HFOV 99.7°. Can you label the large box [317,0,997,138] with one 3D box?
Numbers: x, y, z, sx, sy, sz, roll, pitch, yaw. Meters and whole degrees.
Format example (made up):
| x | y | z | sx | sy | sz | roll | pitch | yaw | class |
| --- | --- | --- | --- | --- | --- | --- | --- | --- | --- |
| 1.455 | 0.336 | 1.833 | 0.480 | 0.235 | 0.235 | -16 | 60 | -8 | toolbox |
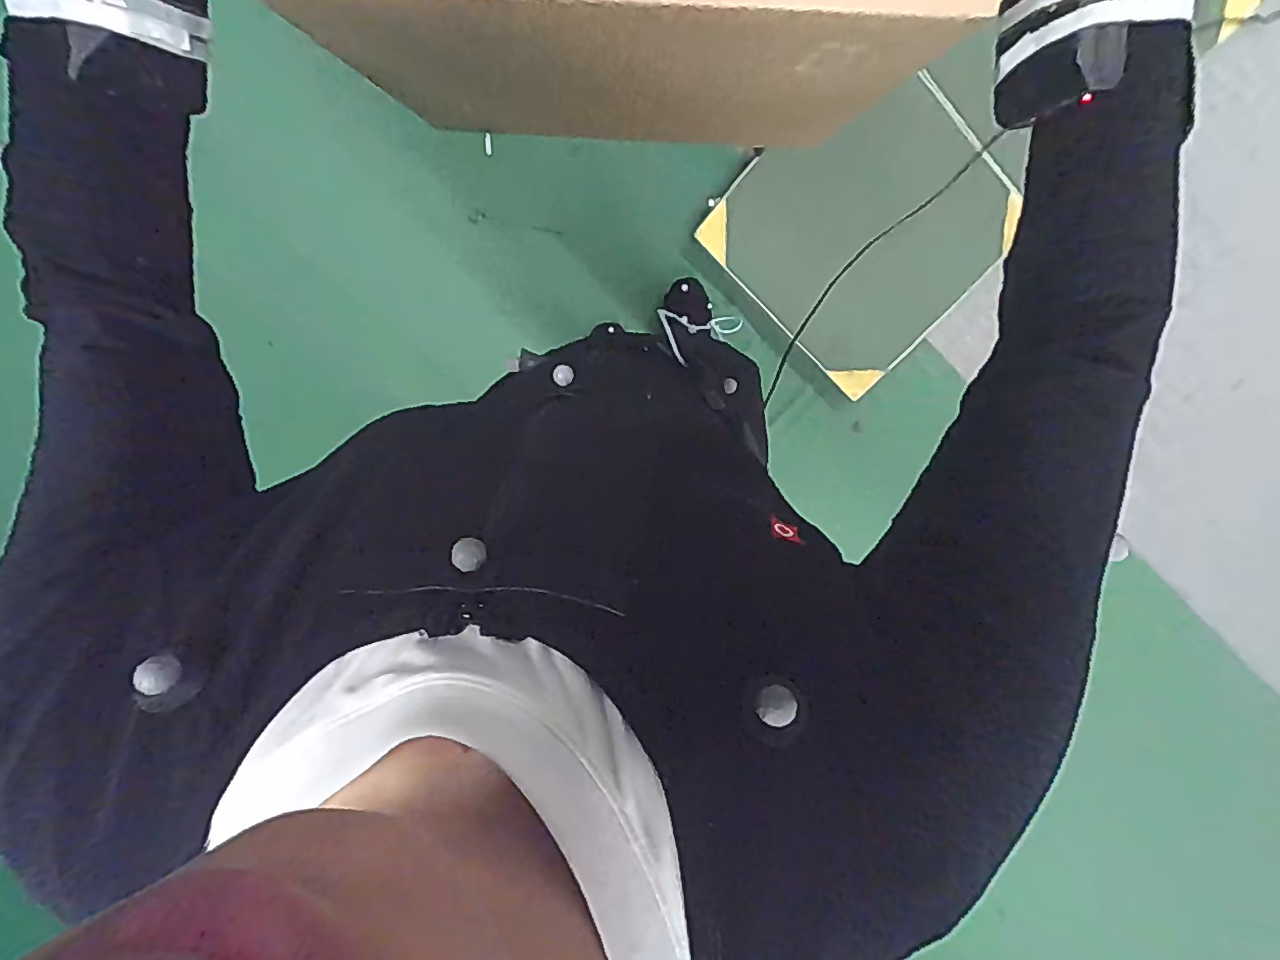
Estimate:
| x | y | z | sx | sy | sz | roll | pitch | yaw | class |
| --- | --- | --- | --- | --- | --- | --- | --- | --- | --- |
| 0.002 | -0.457 | 0.376 | 0.408 | 0.320 | 0.320 | 2 | 111 | -2 | large box |
